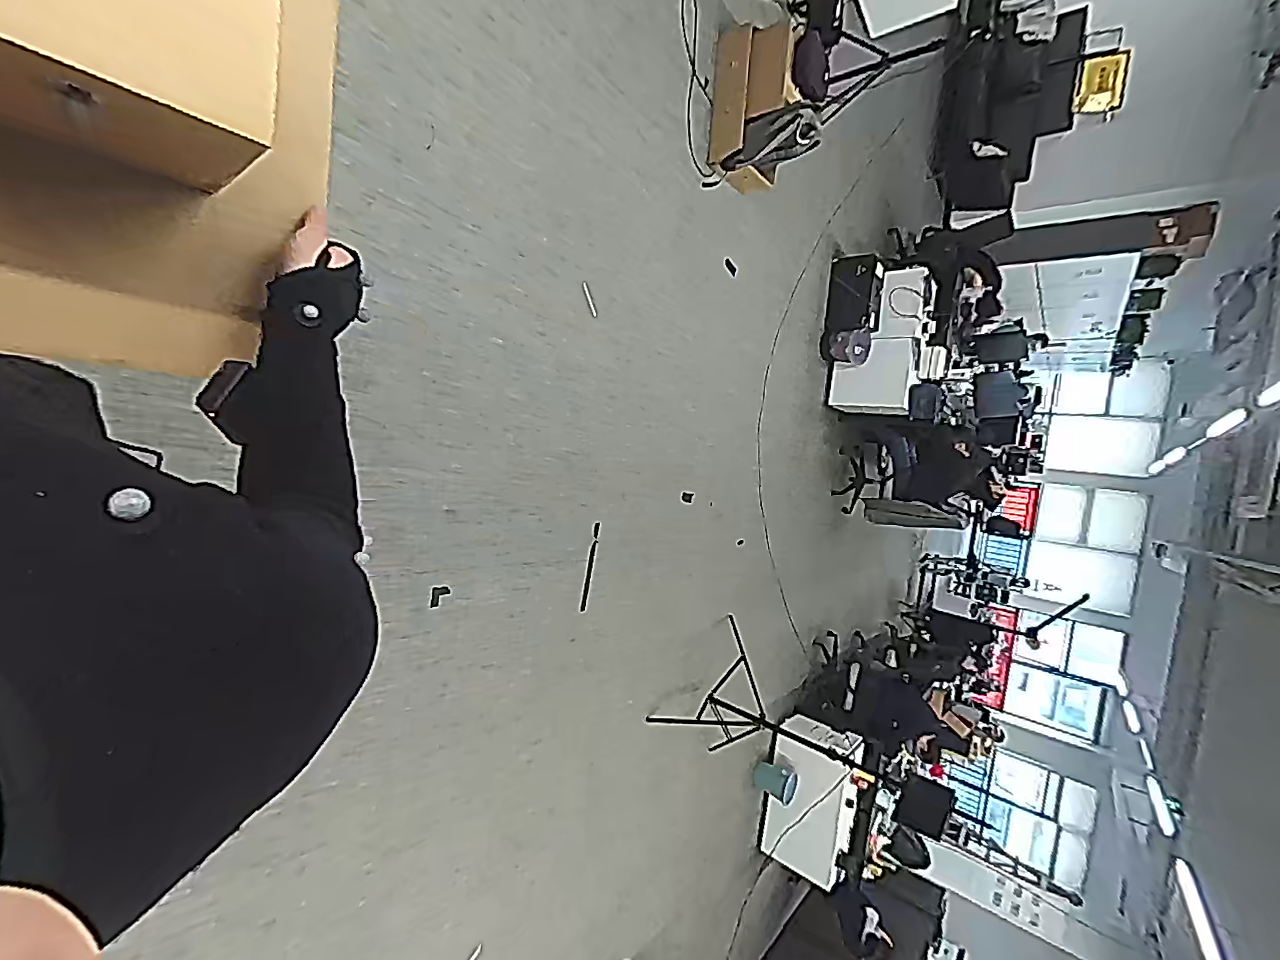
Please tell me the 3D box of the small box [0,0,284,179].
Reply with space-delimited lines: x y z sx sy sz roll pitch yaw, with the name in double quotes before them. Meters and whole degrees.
"small box" -0.377 -0.336 0.378 0.179 0.176 0.168 1 98 -48
